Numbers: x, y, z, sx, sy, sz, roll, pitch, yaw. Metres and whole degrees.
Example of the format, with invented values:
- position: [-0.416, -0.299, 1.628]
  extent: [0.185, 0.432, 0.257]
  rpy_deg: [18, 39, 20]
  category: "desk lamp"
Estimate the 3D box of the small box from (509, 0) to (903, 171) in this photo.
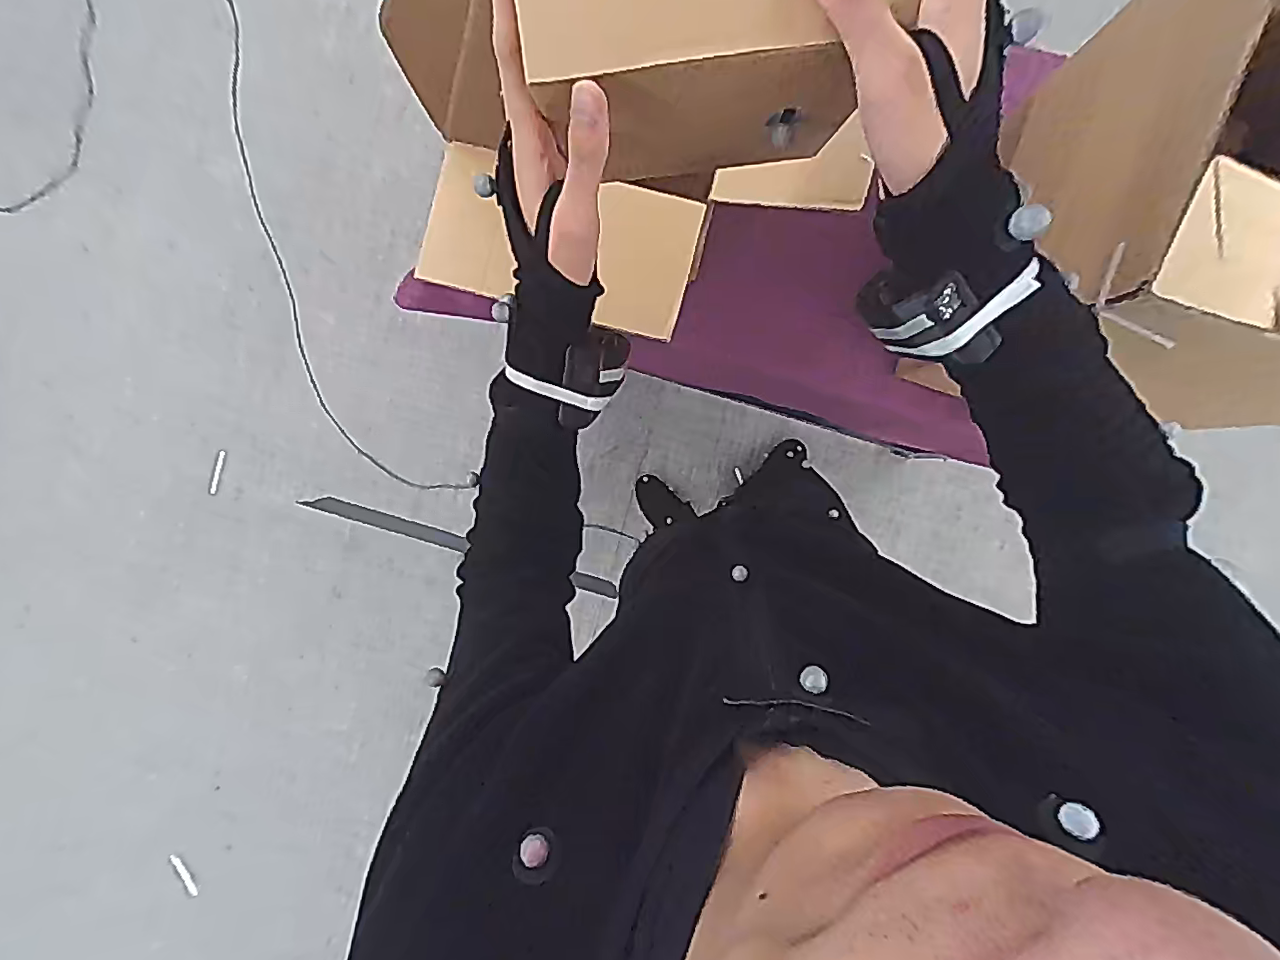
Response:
- position: [0.025, -0.292, 0.300]
  extent: [0.179, 0.176, 0.168]
  rpy_deg: [-5, 103, 3]
  category: "small box"
